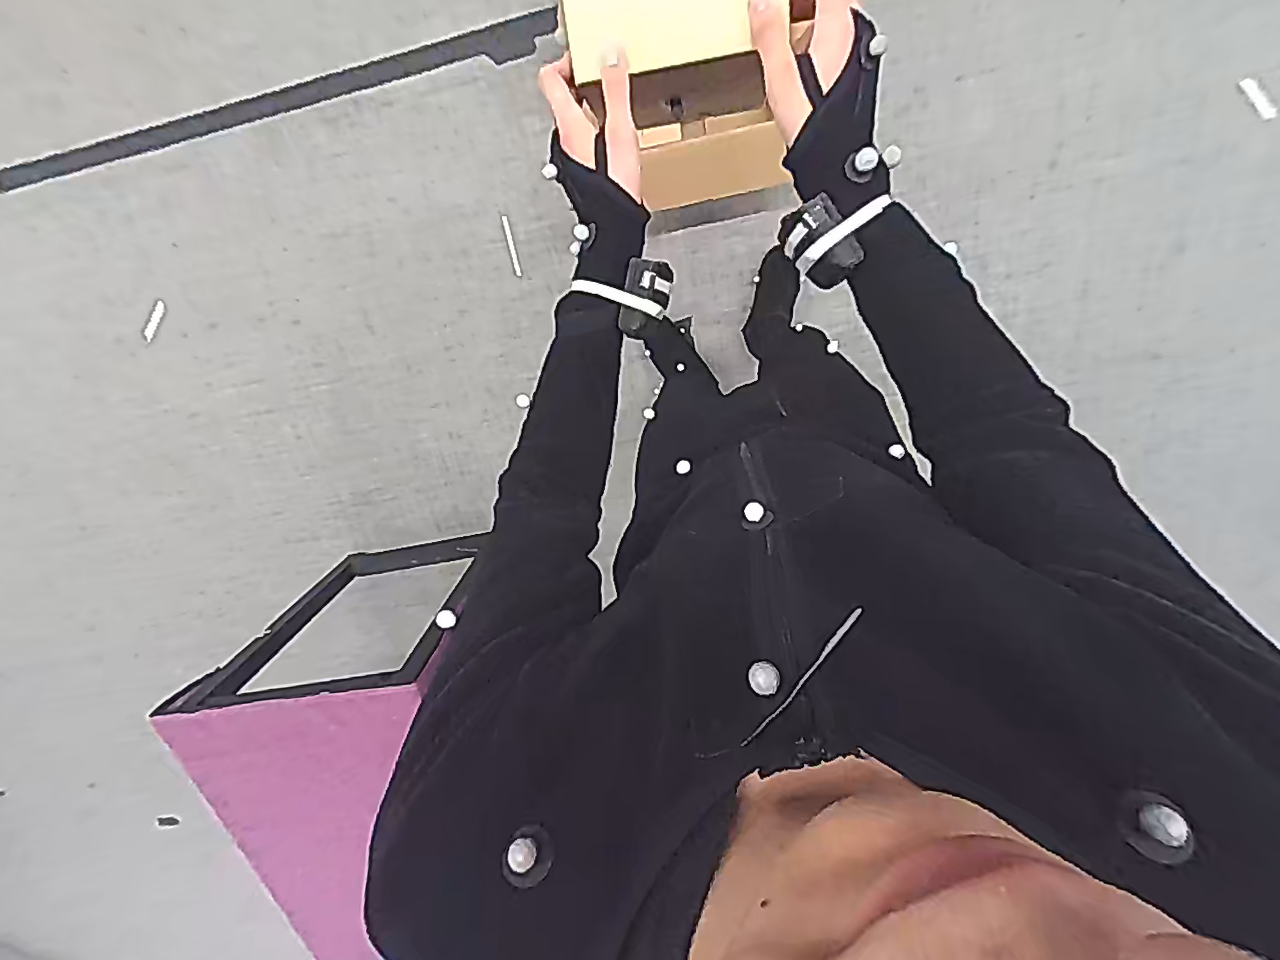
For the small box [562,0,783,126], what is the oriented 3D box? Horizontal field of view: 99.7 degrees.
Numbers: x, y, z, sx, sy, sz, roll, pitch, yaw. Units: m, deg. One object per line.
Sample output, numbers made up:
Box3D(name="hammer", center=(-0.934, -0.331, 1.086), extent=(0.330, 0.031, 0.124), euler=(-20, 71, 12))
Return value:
Box3D(name="small box", center=(0.024, -0.424, 0.459), extent=(0.168, 0.176, 0.179), euler=(-6, 109, 6))
